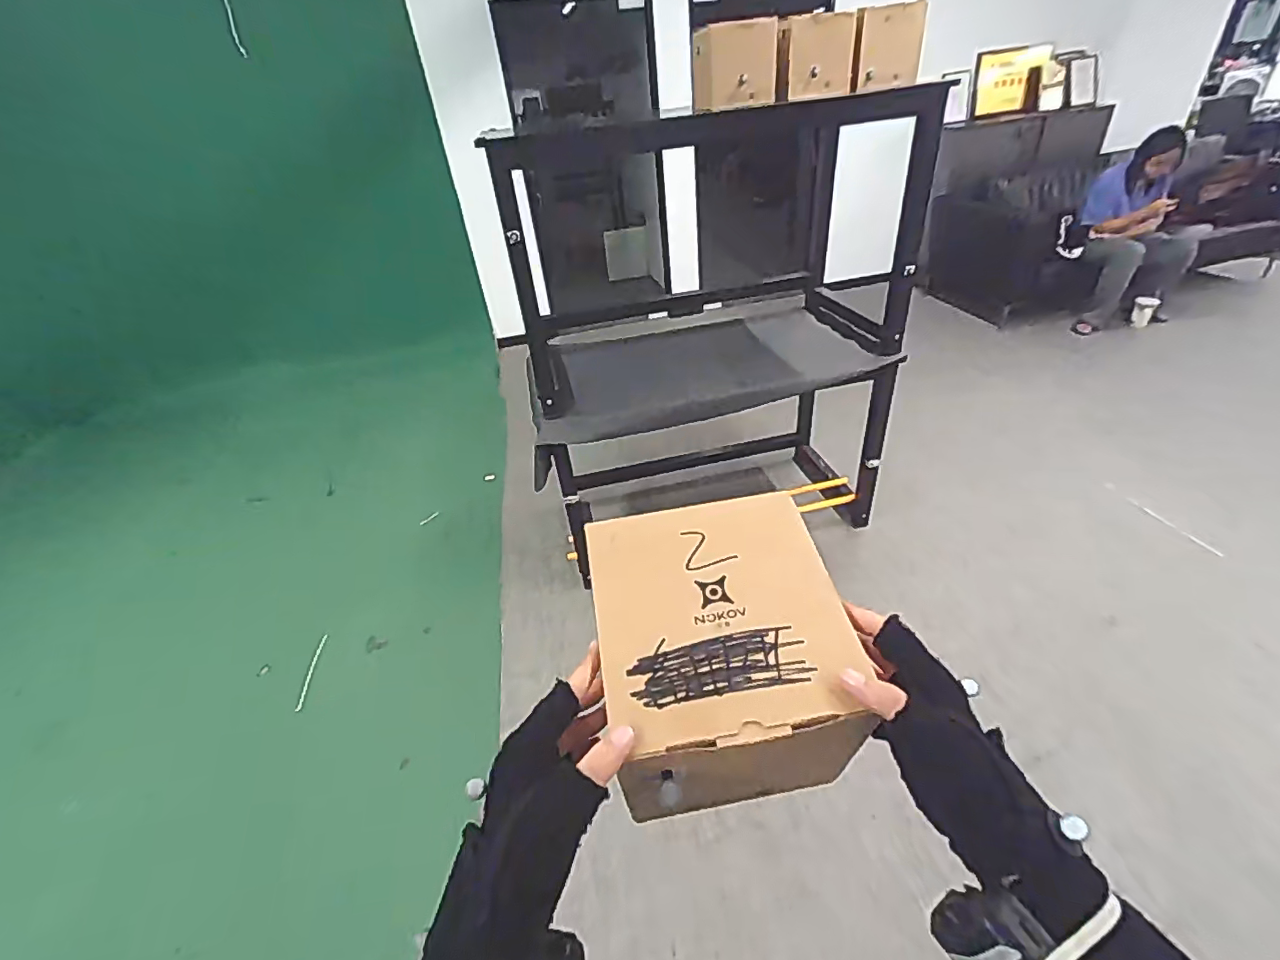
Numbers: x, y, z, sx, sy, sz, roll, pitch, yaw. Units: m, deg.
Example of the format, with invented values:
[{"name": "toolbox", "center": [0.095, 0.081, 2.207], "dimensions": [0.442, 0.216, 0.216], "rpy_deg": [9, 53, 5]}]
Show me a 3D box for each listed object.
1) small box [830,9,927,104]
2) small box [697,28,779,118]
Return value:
[{"name": "small box", "center": [0.619, -1.107, 1.425], "dimensions": [0.168, 0.176, 0.179], "rpy_deg": [-10, 34, -4]}, {"name": "small box", "center": [0.245, -1.037, 1.389], "dimensions": [0.168, 0.176, 0.179], "rpy_deg": [-10, 35, -5]}]
